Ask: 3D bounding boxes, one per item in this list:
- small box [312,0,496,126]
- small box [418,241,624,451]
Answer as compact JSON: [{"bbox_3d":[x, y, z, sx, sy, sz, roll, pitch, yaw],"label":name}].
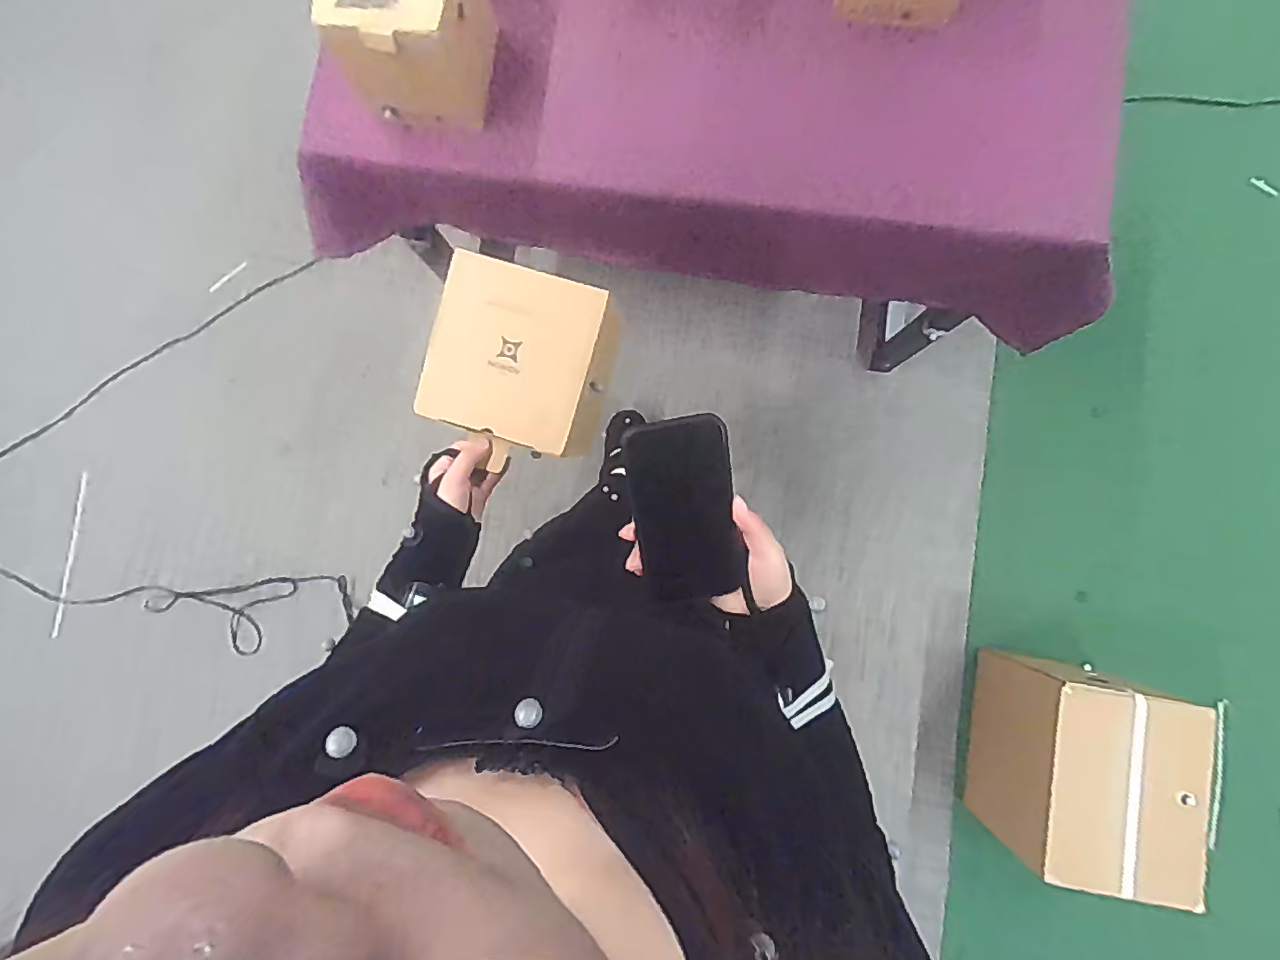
[{"bbox_3d":[-0.311,-0.630,0.748,0.168,0.176,0.179,7,85,2],"label":"small box"},{"bbox_3d":[-0.123,-0.141,0.628,0.168,0.176,0.179,18,95,3],"label":"small box"}]
